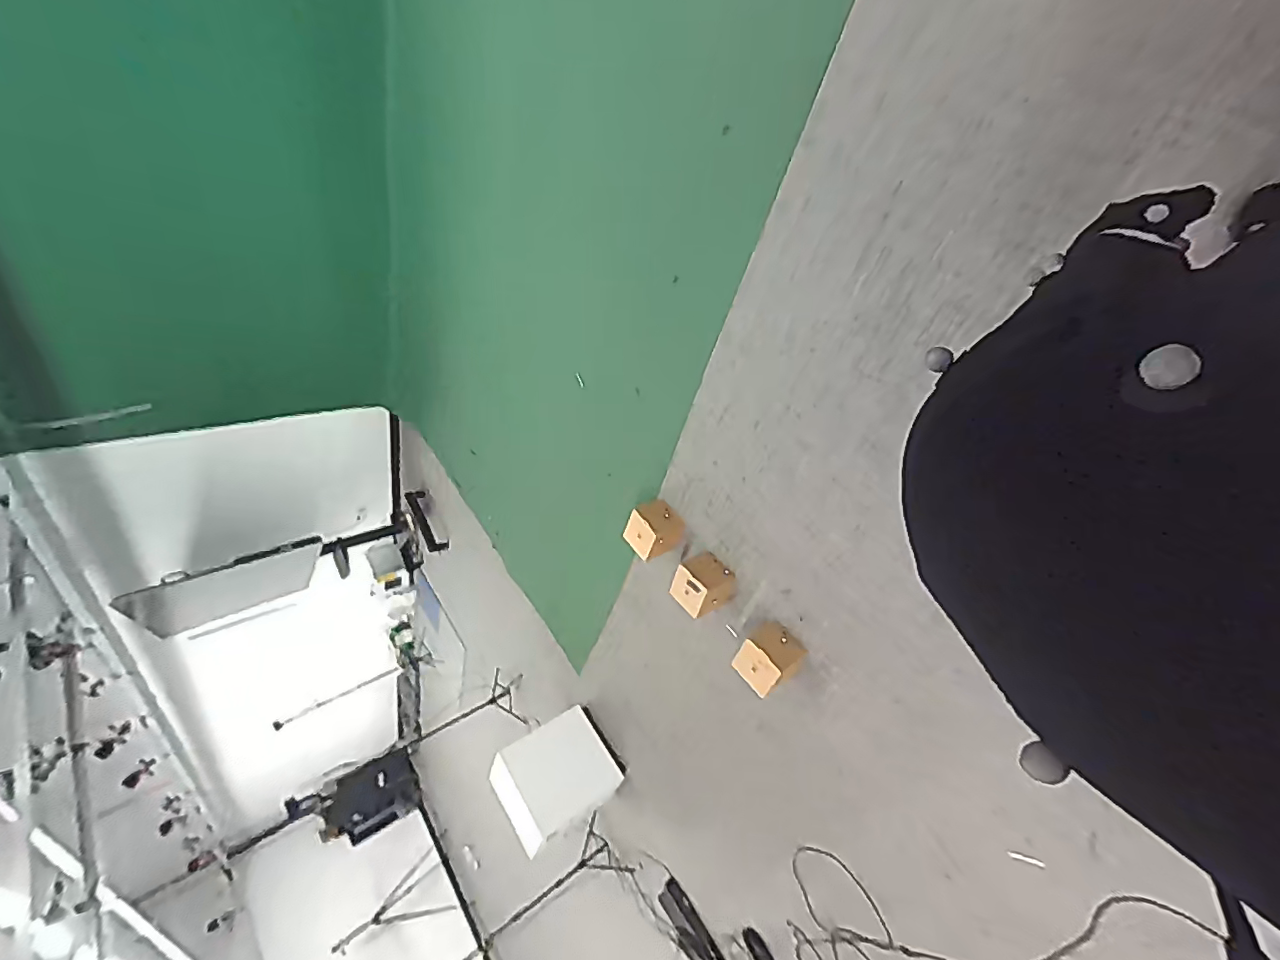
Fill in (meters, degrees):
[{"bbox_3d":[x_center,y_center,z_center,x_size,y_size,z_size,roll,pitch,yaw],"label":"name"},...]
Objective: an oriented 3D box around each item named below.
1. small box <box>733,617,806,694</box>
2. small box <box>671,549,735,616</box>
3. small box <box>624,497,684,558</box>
[{"bbox_3d":[0.478,0.638,1.979,0.168,0.176,0.179,44,133,30],"label":"small box"},{"bbox_3d":[0.255,0.403,2.169,0.168,0.176,0.179,43,134,33],"label":"small box"},{"bbox_3d":[0.062,0.200,2.332,0.168,0.176,0.179,47,134,29],"label":"small box"}]
